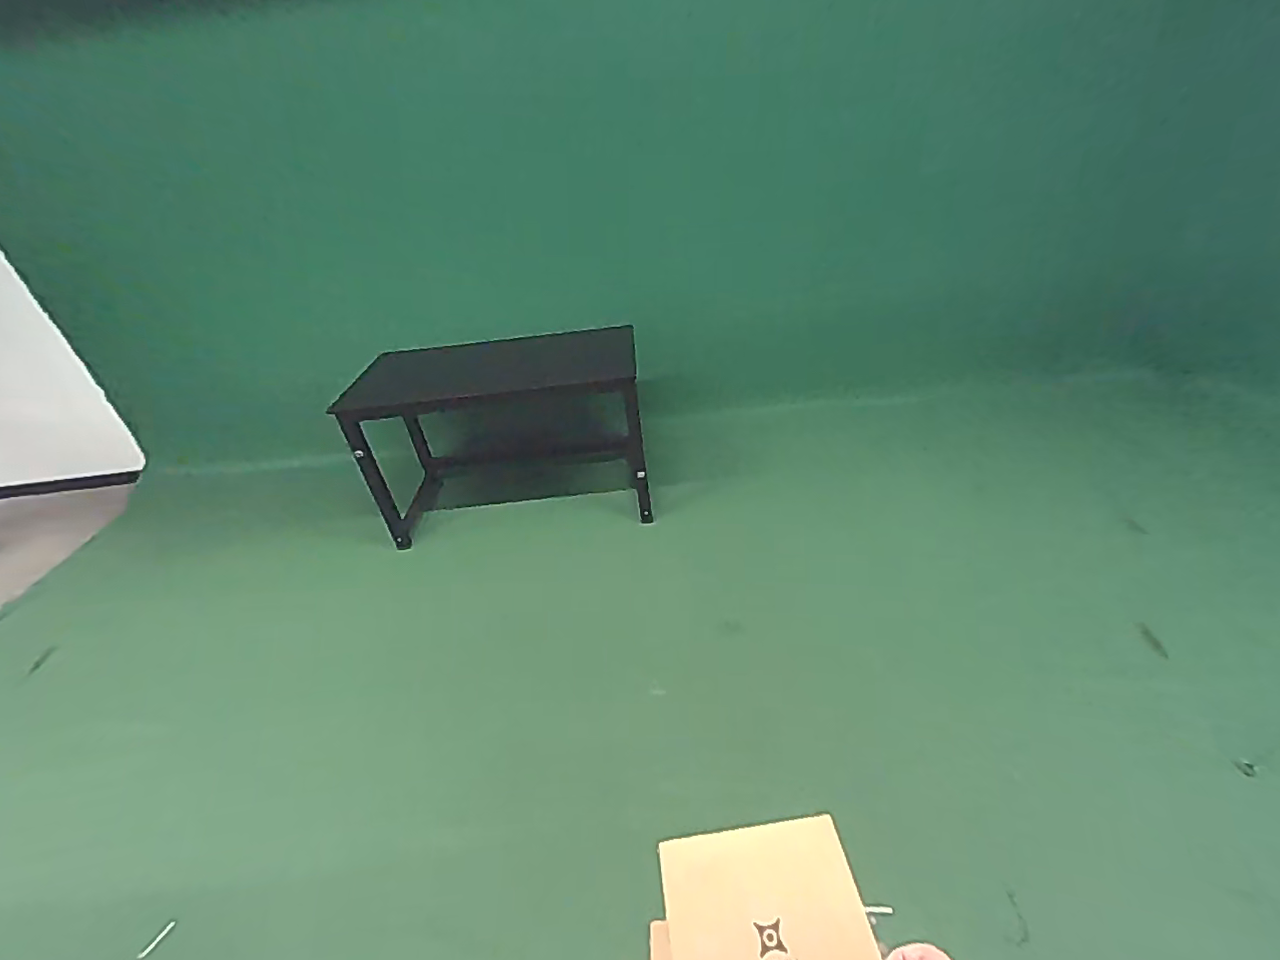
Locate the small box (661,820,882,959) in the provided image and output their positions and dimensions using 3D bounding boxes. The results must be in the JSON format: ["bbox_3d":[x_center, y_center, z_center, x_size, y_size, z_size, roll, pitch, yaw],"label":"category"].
[{"bbox_3d":[0.112,0.436,0.472,0.168,0.176,0.179,-8,37,-1],"label":"small box"}]
